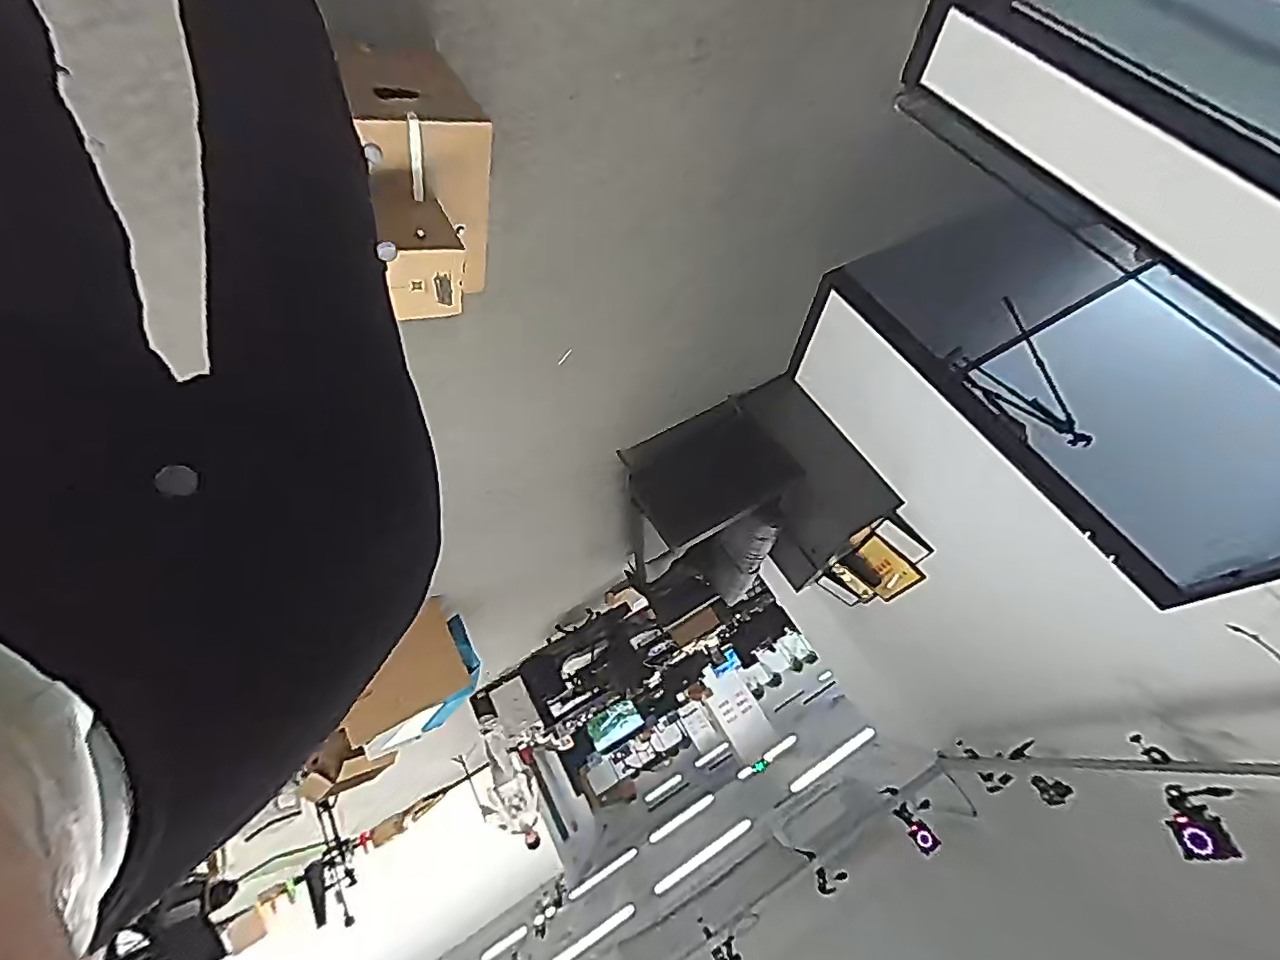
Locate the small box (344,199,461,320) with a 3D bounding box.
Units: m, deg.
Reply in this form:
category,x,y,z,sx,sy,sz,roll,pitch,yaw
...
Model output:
category,x,y,z,sx,sy,sz,roll,pitch,yaw
small box,-0.491,-0.459,1.120,0.179,0.176,0.168,-17,153,-31
